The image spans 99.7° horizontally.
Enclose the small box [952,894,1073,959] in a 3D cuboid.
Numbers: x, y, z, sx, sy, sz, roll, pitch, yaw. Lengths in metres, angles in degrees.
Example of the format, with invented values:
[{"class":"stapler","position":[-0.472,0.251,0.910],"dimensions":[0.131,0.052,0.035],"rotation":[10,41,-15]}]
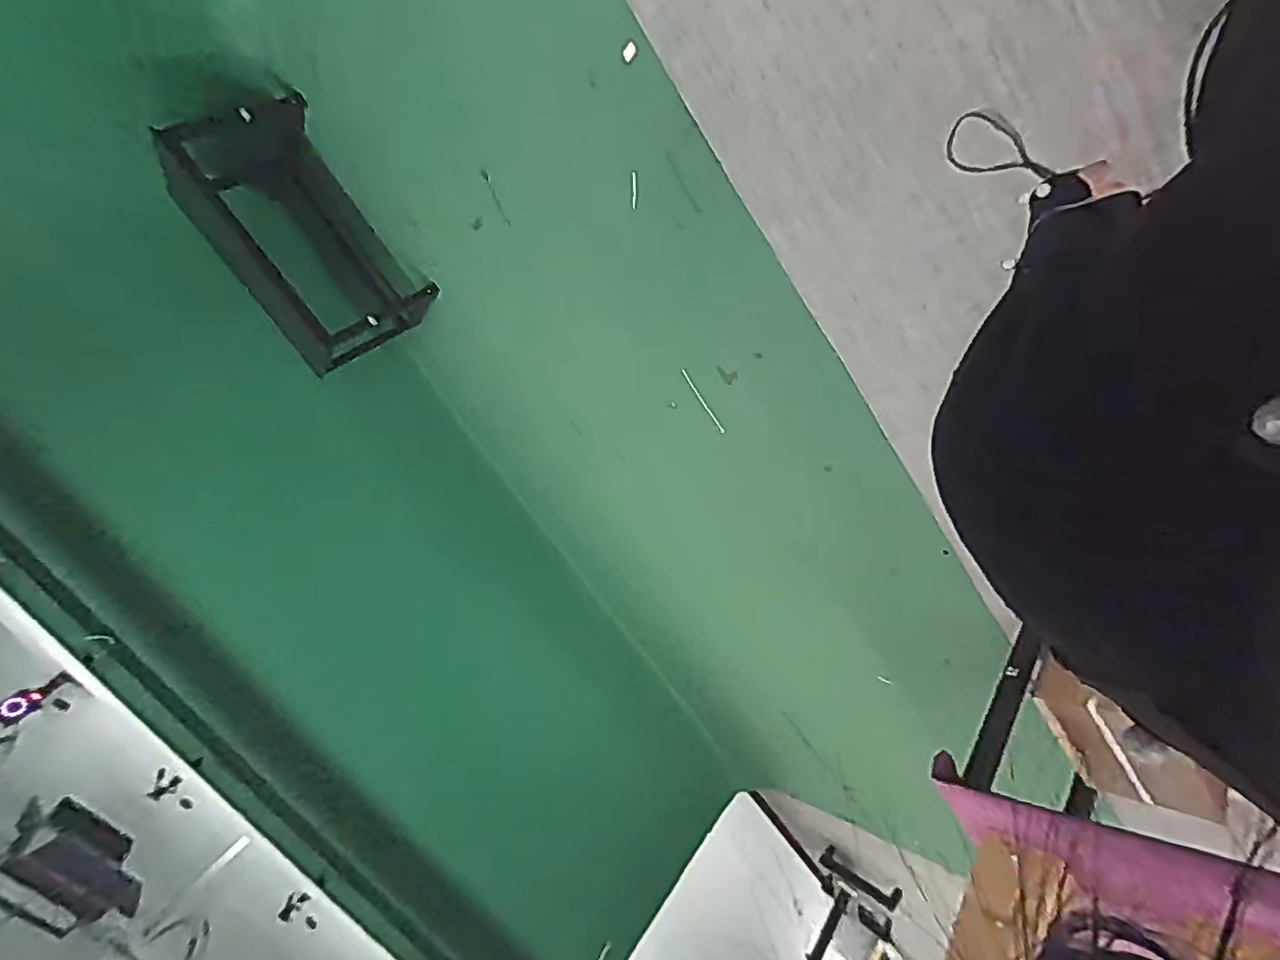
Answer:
[{"class":"small box","position":[0.841,1.087,1.204],"dimensions":[0.179,0.176,0.168],"rotation":[52,149,-10]}]

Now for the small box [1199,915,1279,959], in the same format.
[{"class":"small box","position":[1.145,0.943,0.969],"dimensions":[0.179,0.176,0.168],"rotation":[52,151,-9]}]

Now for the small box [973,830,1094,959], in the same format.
[{"class":"small box","position":[0.941,0.989,1.288],"dimensions":[0.179,0.176,0.168],"rotation":[54,149,-12]}]
